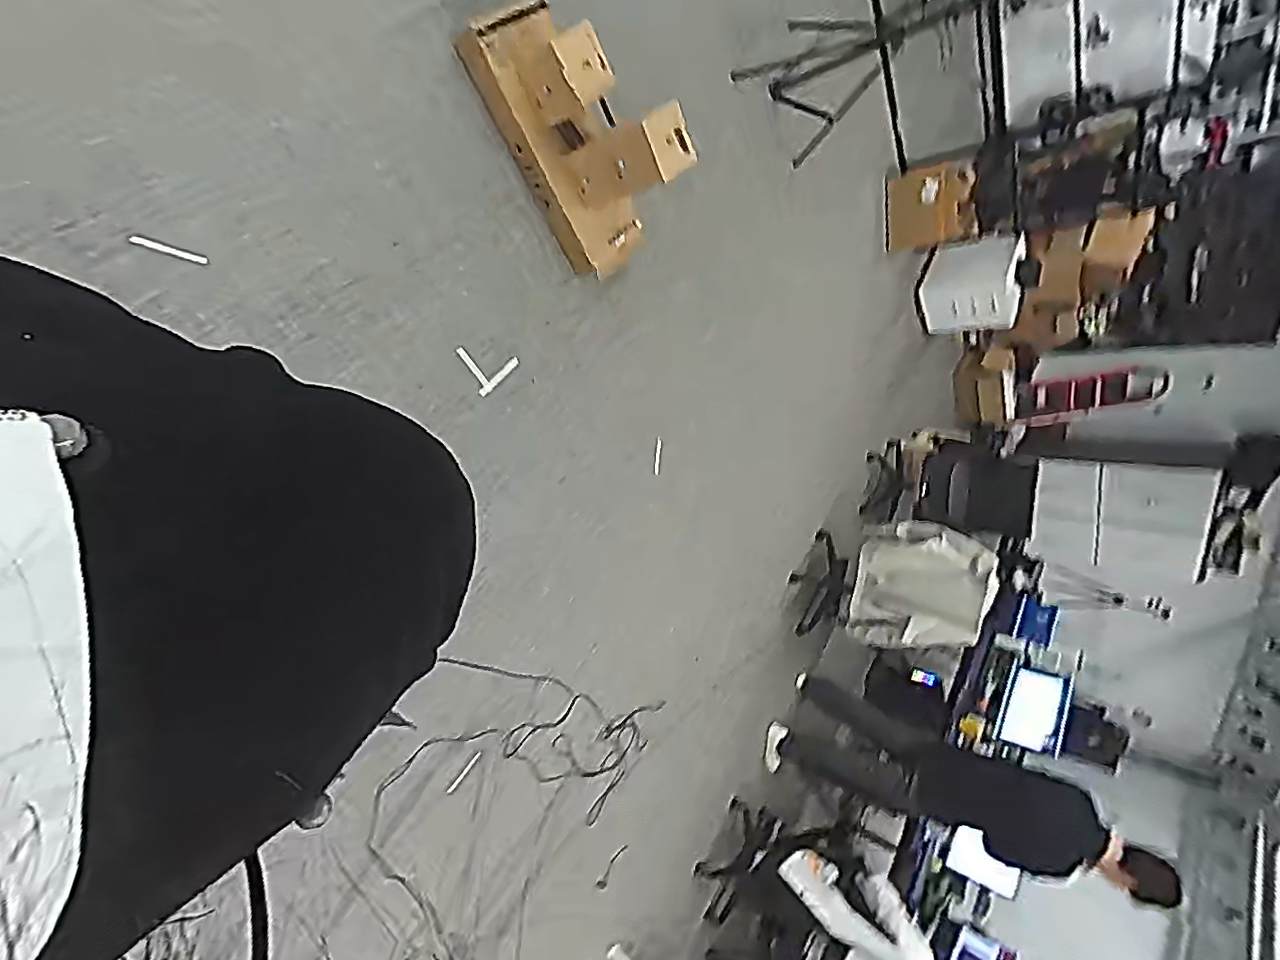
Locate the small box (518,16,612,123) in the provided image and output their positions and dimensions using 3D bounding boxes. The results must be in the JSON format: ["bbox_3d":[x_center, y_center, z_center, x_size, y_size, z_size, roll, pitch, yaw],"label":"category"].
[{"bbox_3d":[-0.219,-1.153,1.530,0.179,0.176,0.168,-53,130,-26],"label":"small box"}]

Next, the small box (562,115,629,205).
[{"bbox_3d":[-0.108,-0.984,1.672,0.179,0.176,0.168,-53,129,-27],"label":"small box"}]

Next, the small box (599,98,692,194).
[{"bbox_3d":[0.015,-0.962,1.565,0.179,0.176,0.168,-49,127,-29],"label":"small box"}]
